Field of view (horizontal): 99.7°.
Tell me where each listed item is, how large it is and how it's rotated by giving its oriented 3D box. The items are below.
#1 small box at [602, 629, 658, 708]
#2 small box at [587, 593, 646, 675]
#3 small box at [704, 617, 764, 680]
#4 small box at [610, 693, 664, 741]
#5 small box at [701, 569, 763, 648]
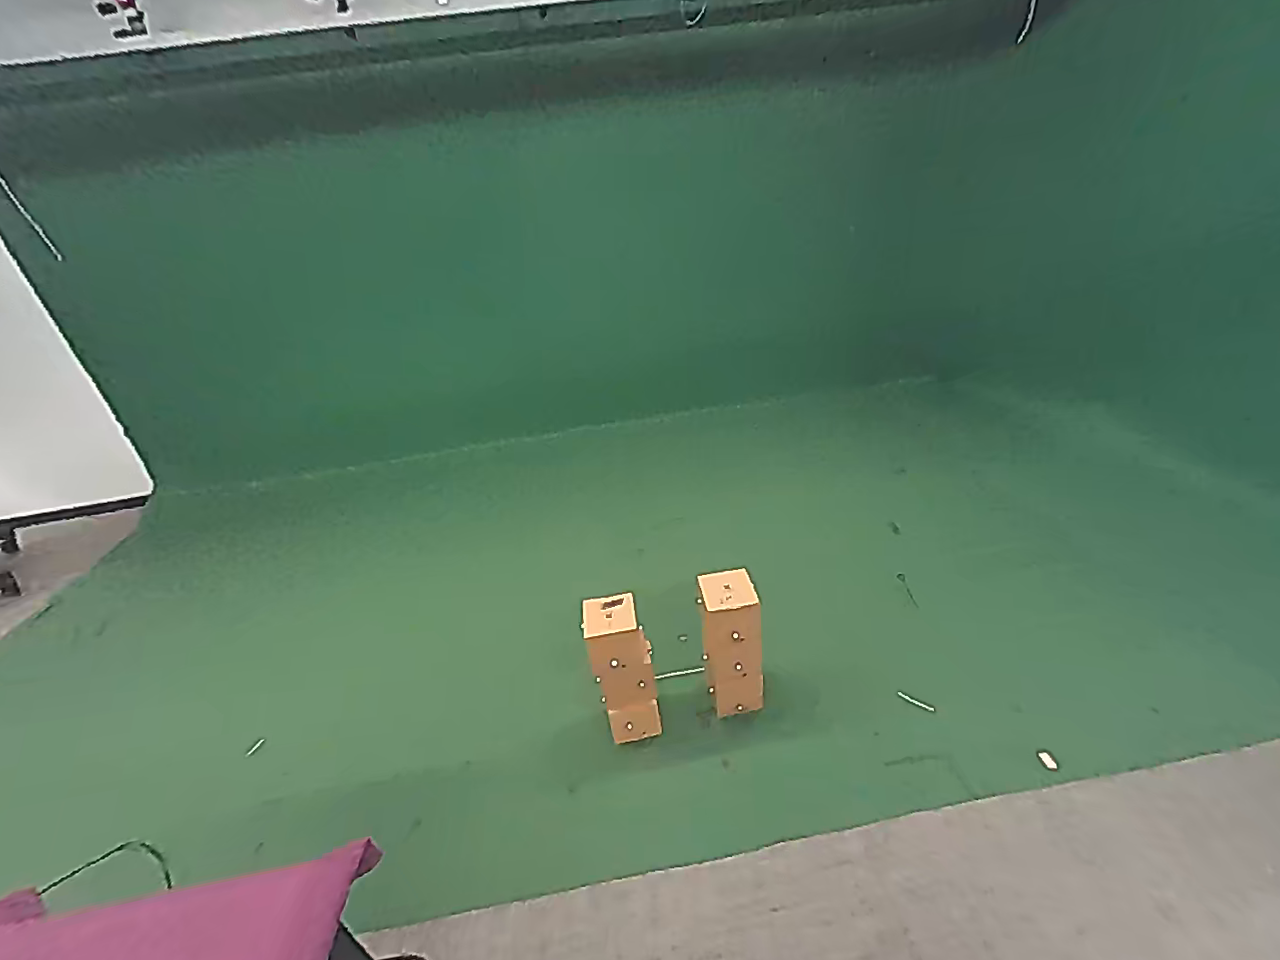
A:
[{"bbox_3d":[-0.040,0.635,1.820,0.179,0.176,0.168,-12,28,-5],"label":"small box"},{"bbox_3d":[-0.077,0.495,1.741,0.168,0.176,0.179,-10,28,-2],"label":"small box"},{"bbox_3d":[0.321,0.563,1.851,0.168,0.176,0.179,-9,31,-3],"label":"small box"},{"bbox_3d":[-0.017,0.783,1.885,0.168,0.176,0.179,-11,29,-5],"label":"small box"},{"bbox_3d":[0.299,0.421,1.770,0.168,0.176,0.179,-9,30,-1],"label":"small box"}]
